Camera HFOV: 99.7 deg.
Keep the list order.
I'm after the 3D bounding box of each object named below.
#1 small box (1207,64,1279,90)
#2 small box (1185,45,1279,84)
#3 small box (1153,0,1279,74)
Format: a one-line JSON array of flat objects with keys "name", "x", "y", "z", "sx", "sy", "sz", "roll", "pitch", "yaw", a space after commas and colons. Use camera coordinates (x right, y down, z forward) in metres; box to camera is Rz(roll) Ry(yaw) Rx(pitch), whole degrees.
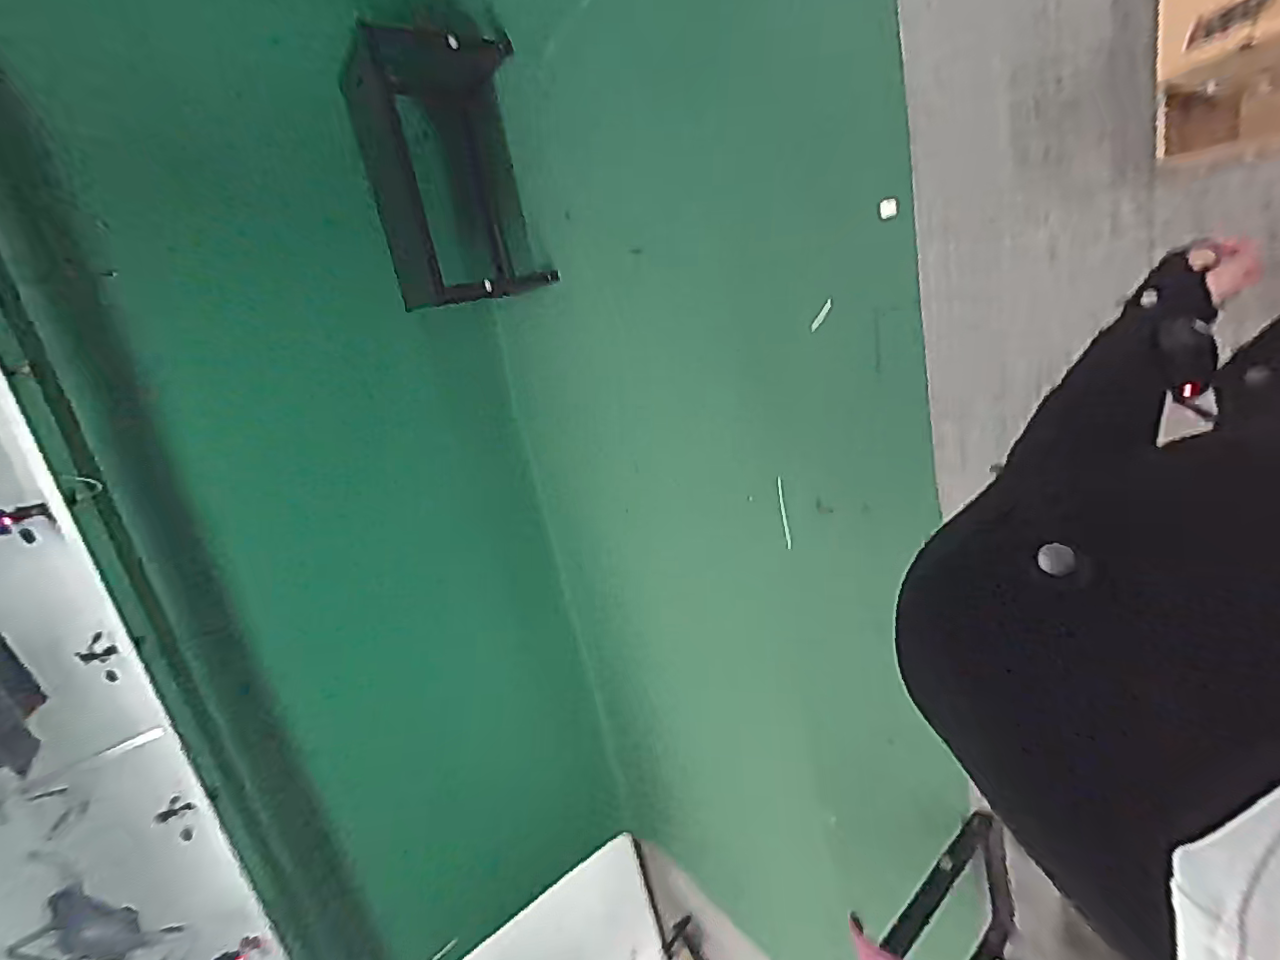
[{"name": "small box", "x": 1.040, "y": -0.759, "z": 0.861, "sx": 0.168, "sy": 0.176, "sz": 0.179, "roll": 12, "pitch": 117, "yaw": 53}, {"name": "small box", "x": 0.915, "y": -0.705, "z": 0.774, "sx": 0.168, "sy": 0.176, "sz": 0.179, "roll": 11, "pitch": 118, "yaw": 52}, {"name": "small box", "x": 0.787, "y": -0.650, "z": 0.686, "sx": 0.168, "sy": 0.176, "sz": 0.179, "roll": 8, "pitch": 115, "yaw": 53}]
